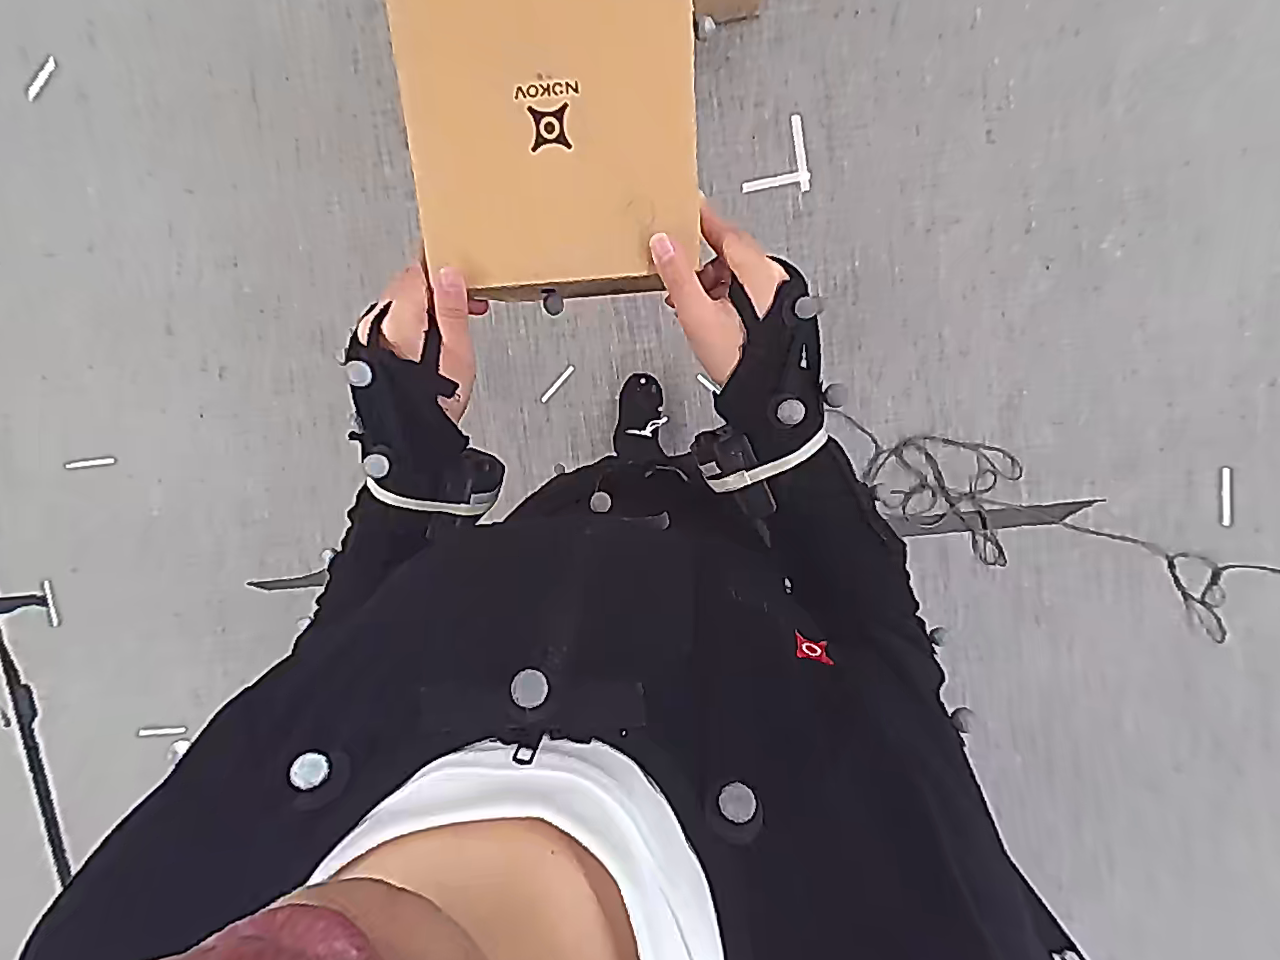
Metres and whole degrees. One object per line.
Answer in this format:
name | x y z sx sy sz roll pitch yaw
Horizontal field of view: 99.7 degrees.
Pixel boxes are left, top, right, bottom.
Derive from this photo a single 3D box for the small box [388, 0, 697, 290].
small box | -0.047 -0.231 0.377 0.168 0.176 0.179 -3 104 3
